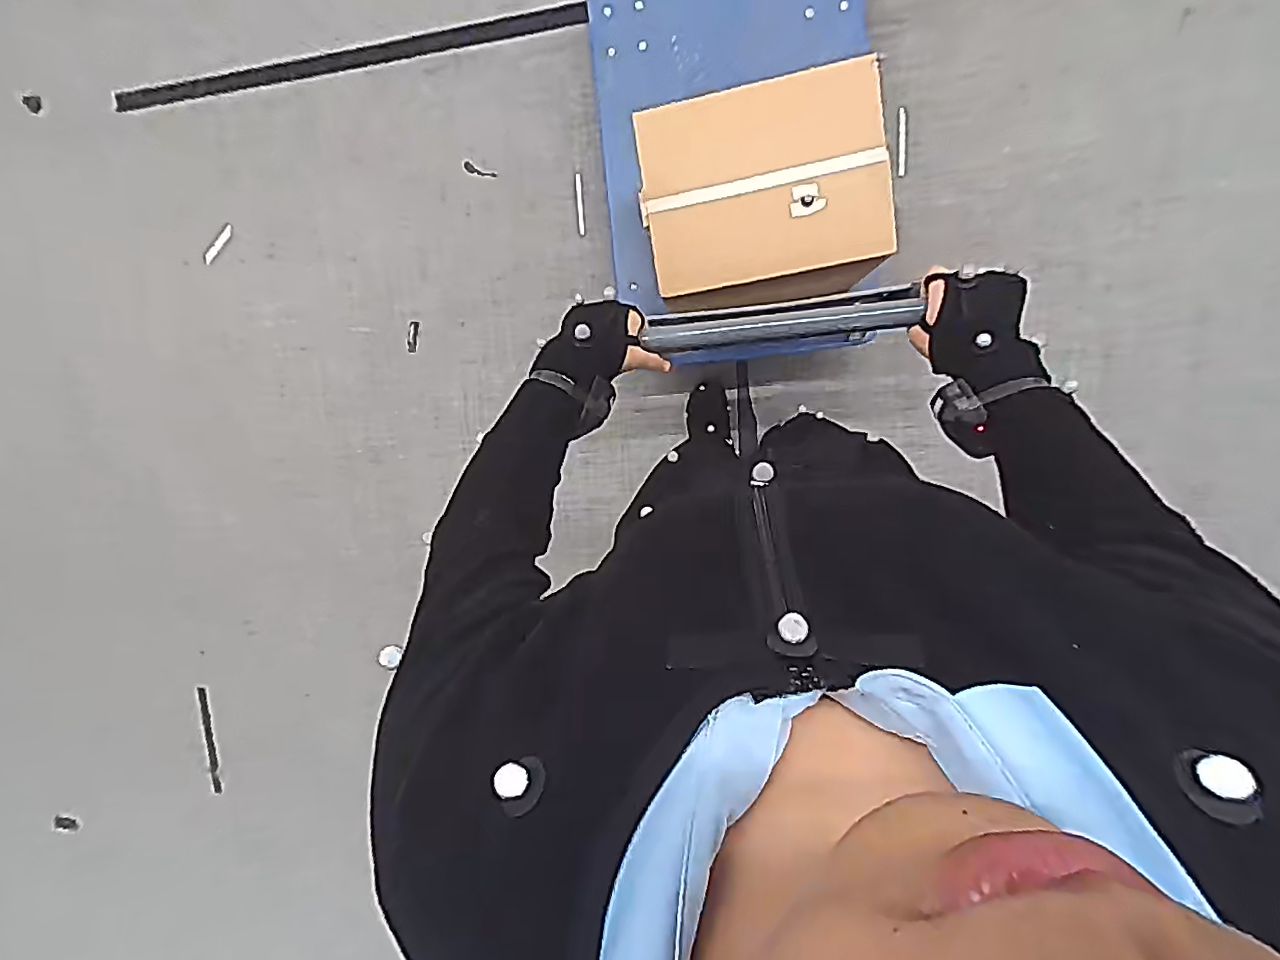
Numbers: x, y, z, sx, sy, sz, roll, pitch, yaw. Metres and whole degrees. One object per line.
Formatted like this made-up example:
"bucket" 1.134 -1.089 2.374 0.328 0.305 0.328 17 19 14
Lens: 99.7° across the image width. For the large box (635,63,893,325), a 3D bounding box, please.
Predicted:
"large box" 0.225 -0.520 1.071 0.408 0.320 0.320 -9 98 7
